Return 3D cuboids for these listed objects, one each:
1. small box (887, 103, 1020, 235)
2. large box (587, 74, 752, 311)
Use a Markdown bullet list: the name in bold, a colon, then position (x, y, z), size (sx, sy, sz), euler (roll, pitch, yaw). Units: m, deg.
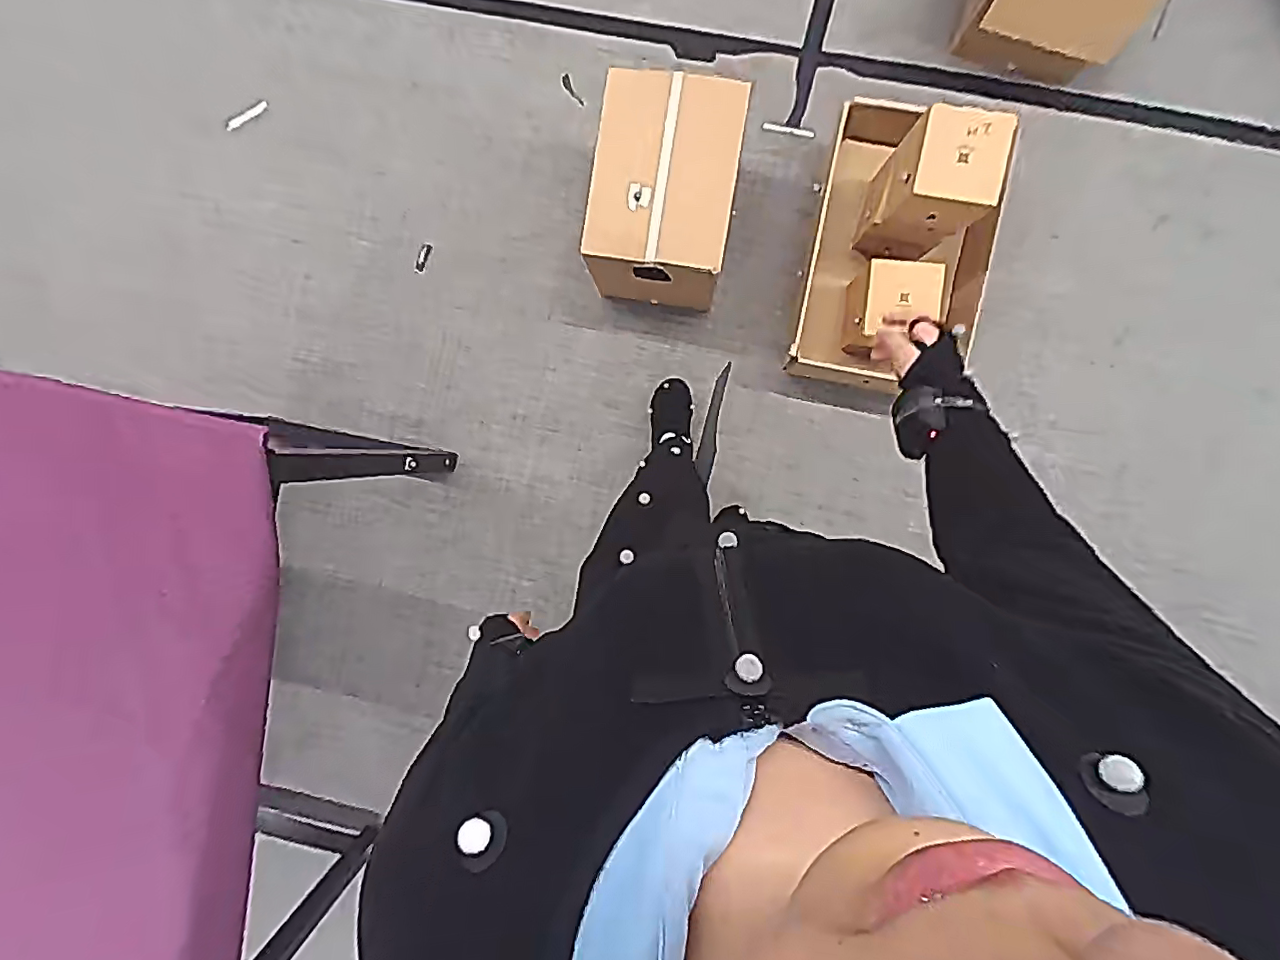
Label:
- **small box**: position (0.636, -0.634, 1.124), size (0.168, 0.176, 0.179), euler (11, 95, 2)
- **large box**: position (0.071, -0.666, 1.310), size (0.320, 0.320, 0.408), euler (9, 94, 5)
